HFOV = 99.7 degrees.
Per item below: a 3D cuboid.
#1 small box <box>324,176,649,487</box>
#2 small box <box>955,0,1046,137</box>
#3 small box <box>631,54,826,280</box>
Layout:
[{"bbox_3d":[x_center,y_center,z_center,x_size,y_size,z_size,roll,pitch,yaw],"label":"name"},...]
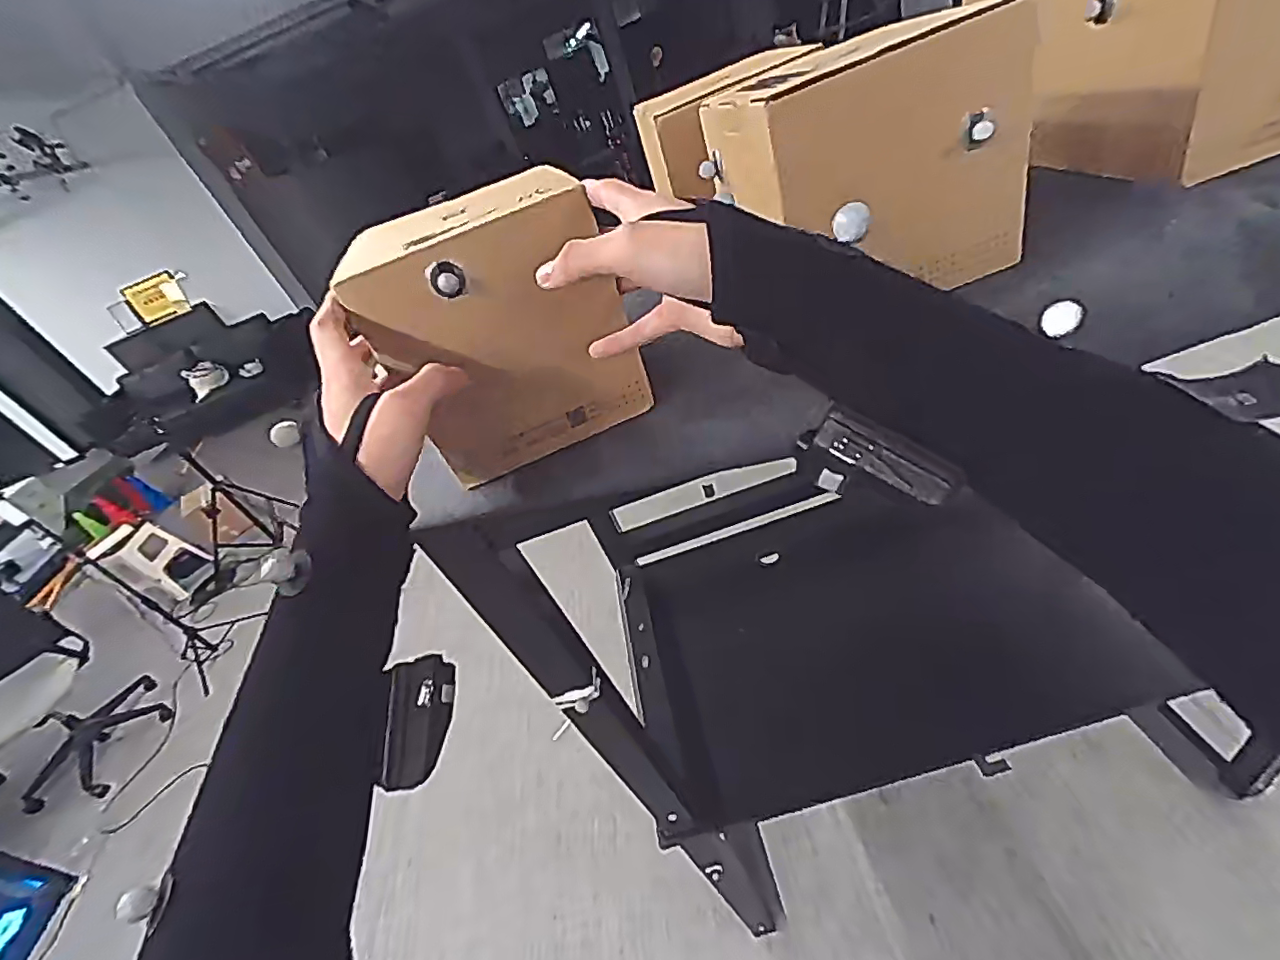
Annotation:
[{"bbox_3d":[-0.110,-0.123,0.437,0.168,0.176,0.179,-25,35,-2],"label":"small box"},{"bbox_3d":[0.479,-0.501,0.595,0.168,0.176,0.179,-20,37,3],"label":"small box"},{"bbox_3d":[0.104,-0.362,0.631,0.179,0.176,0.168,-20,37,6],"label":"small box"}]
